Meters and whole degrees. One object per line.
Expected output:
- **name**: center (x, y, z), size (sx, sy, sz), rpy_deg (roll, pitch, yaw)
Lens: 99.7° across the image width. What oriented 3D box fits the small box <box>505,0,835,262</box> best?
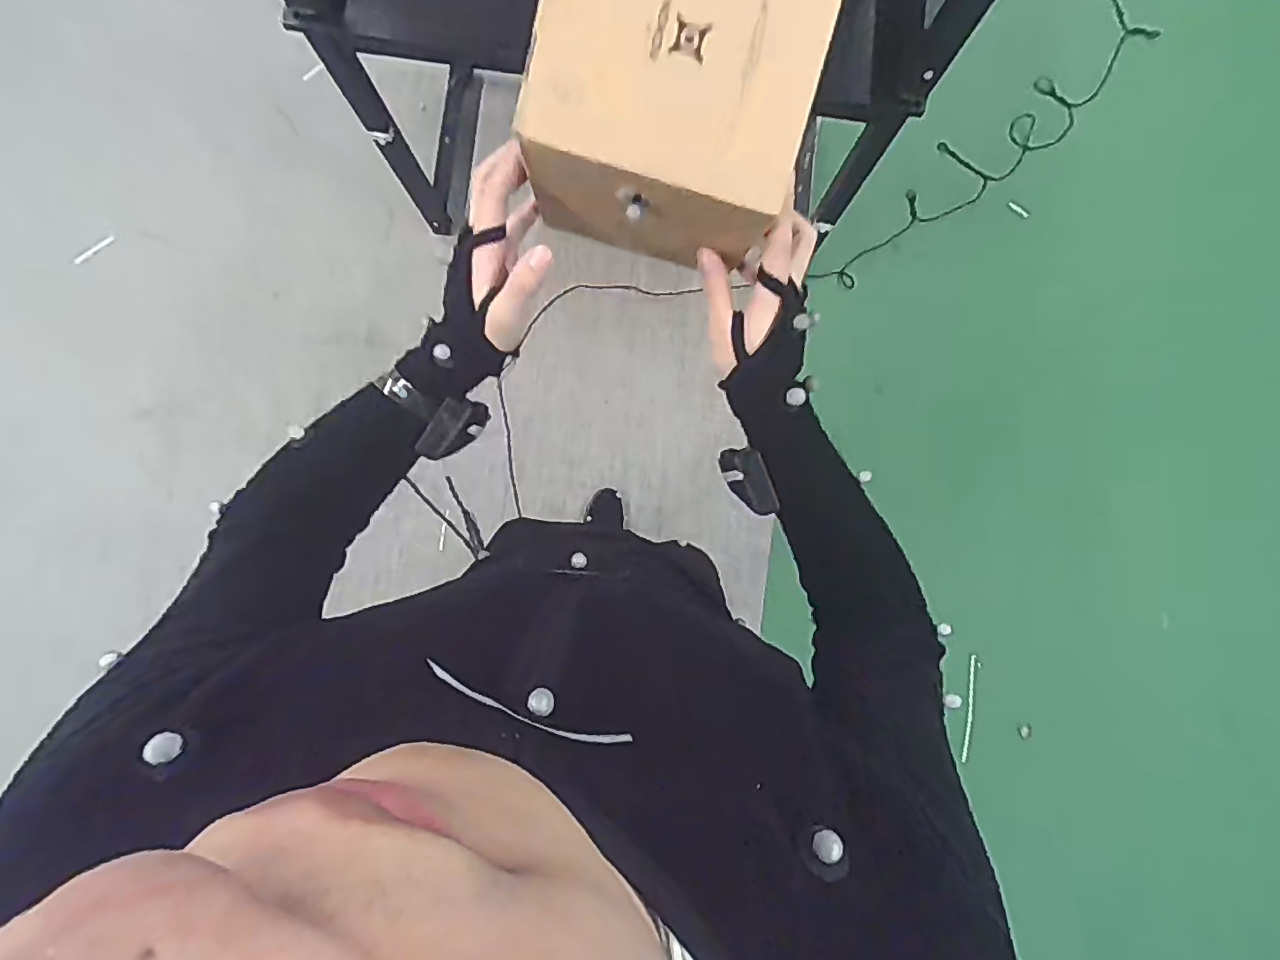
- **small box**: center (0.020, -0.281, 0.401), size (0.179, 0.176, 0.168), rpy_deg (15, 98, -4)
